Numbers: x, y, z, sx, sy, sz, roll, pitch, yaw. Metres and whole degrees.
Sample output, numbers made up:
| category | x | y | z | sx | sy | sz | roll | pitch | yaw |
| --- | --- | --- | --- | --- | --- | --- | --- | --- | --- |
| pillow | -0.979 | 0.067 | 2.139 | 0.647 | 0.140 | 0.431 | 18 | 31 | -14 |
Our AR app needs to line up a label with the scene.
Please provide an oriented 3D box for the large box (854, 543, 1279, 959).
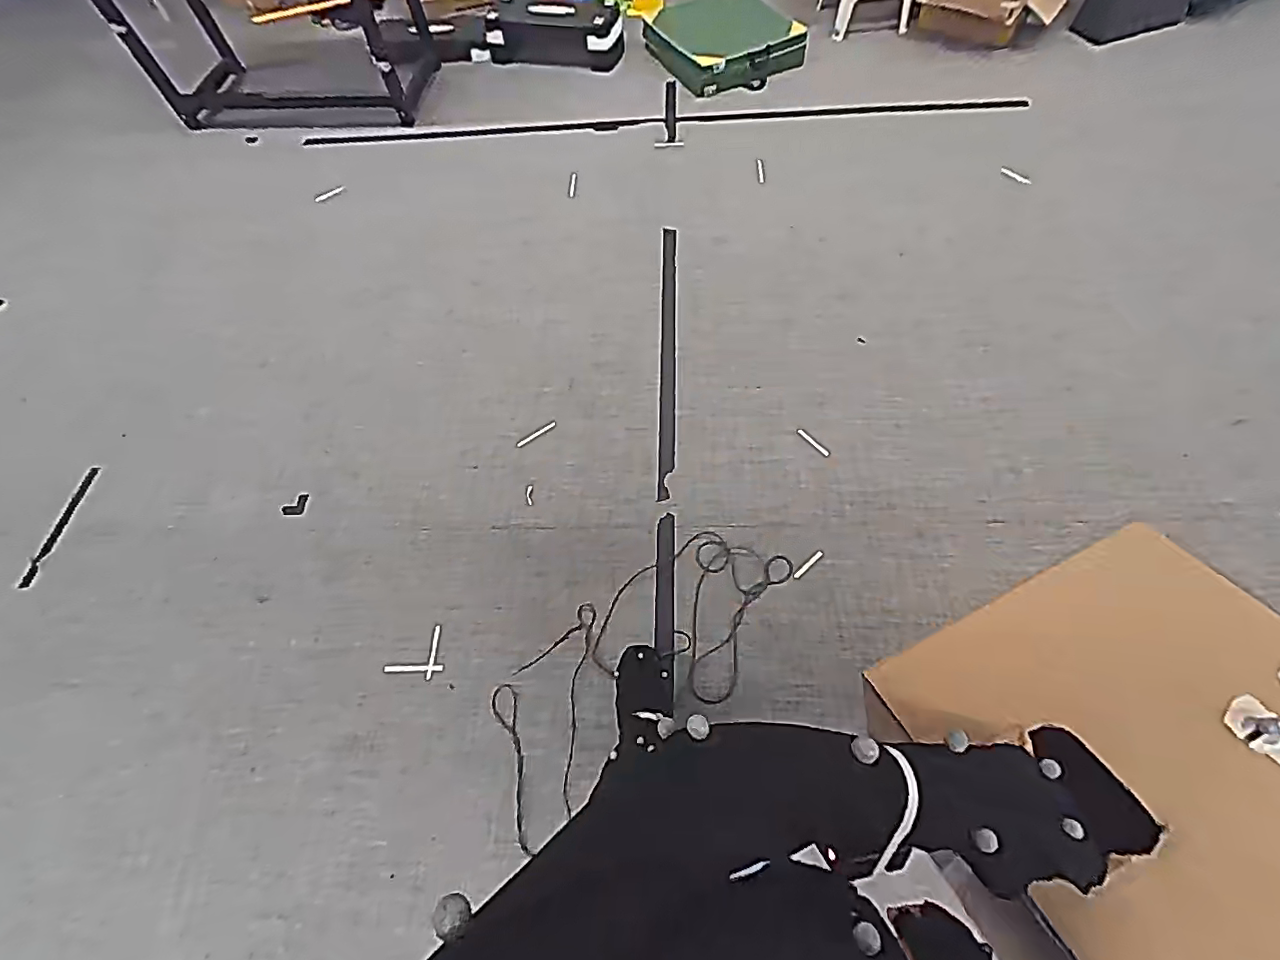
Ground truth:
| category | x | y | z | sx | sy | sz | roll | pitch | yaw |
| --- | --- | --- | --- | --- | --- | --- | --- | --- | --- |
| large box | 0.465 | 0.343 | 0.565 | 0.320 | 0.408 | 0.320 | -29 | 44 | 1 |
